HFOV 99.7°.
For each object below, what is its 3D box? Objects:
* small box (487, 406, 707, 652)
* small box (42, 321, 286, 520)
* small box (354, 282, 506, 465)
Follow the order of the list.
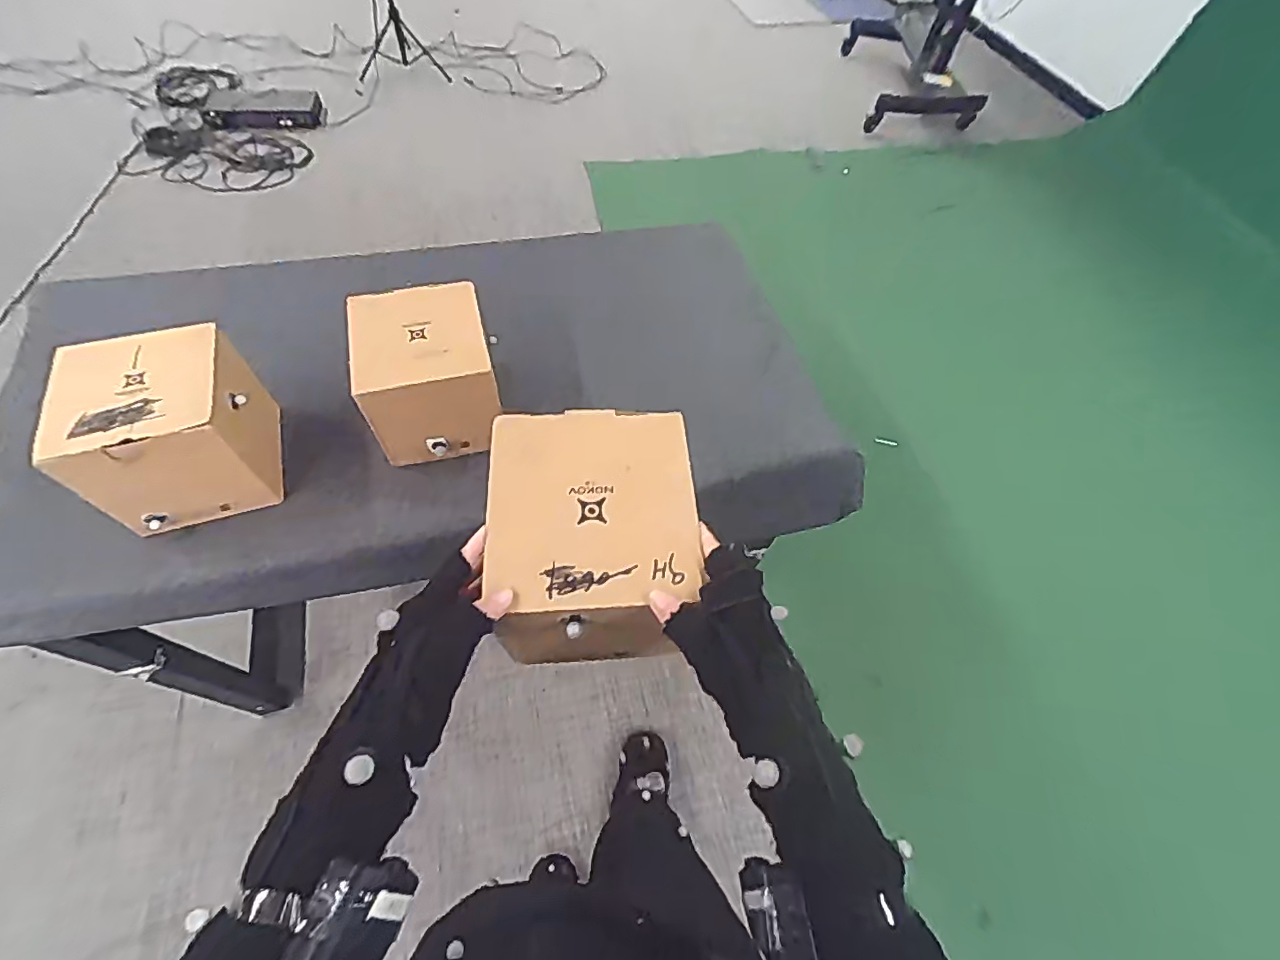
[{"bbox_3d":[-0.040,0.050,0.509,0.168,0.176,0.179,-3,60,-4],"label":"small box"},{"bbox_3d":[-0.575,-0.066,0.684,0.168,0.176,0.179,-15,59,-15],"label":"small box"},{"bbox_3d":[-0.287,-0.148,0.766,0.168,0.176,0.179,-13,61,-12],"label":"small box"}]
